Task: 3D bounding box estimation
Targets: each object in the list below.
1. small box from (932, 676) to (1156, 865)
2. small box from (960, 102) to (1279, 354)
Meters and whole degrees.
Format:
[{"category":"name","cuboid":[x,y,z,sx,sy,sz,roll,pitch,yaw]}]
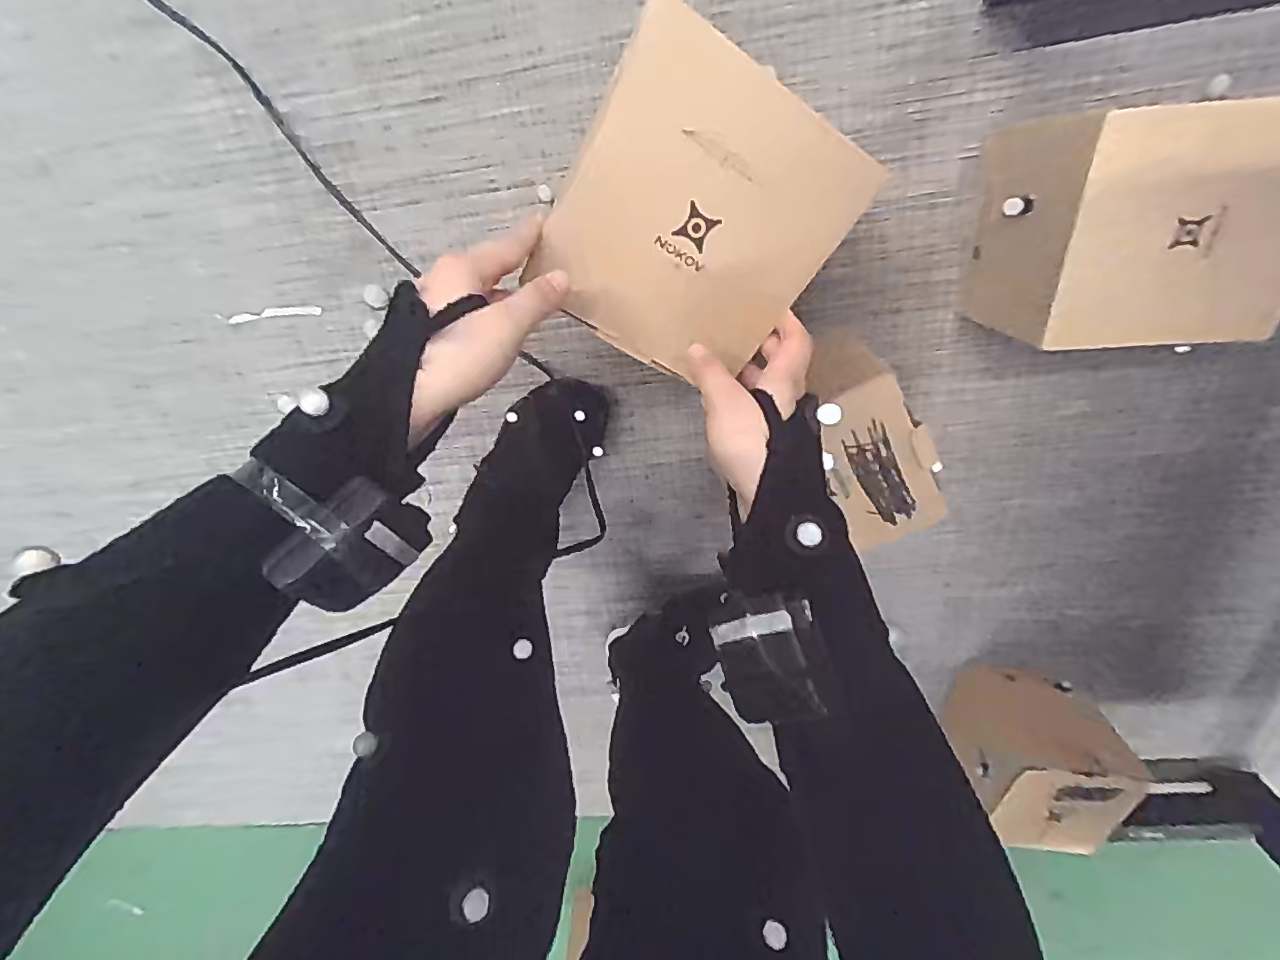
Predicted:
[{"category":"small box","cuboid":[0.552,0.408,0.774,0.168,0.176,0.179,6,120,1]},{"category":"small box","cuboid":[0.410,-0.210,0.462,0.179,0.176,0.168,-2,117,4]}]
